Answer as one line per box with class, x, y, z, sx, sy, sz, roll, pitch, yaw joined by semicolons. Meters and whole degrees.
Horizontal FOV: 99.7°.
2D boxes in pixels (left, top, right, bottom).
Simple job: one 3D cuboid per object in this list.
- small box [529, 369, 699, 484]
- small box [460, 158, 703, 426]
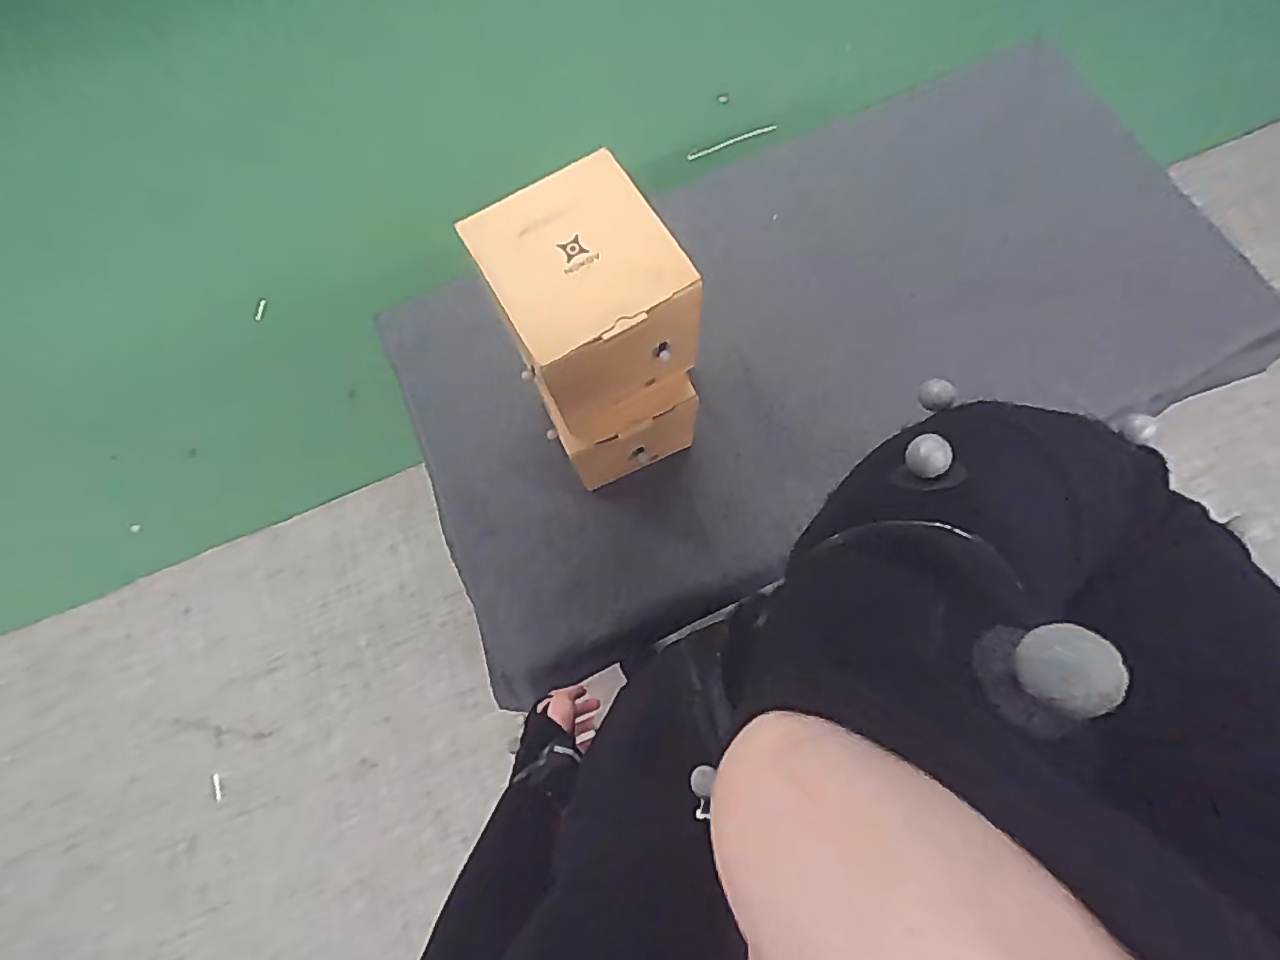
small box;-0.036;-0.107;0.712;0.168;0.176;0.179;-25;76;-5
small box;-0.051;-0.176;0.562;0.168;0.176;0.179;-31;74;-7
